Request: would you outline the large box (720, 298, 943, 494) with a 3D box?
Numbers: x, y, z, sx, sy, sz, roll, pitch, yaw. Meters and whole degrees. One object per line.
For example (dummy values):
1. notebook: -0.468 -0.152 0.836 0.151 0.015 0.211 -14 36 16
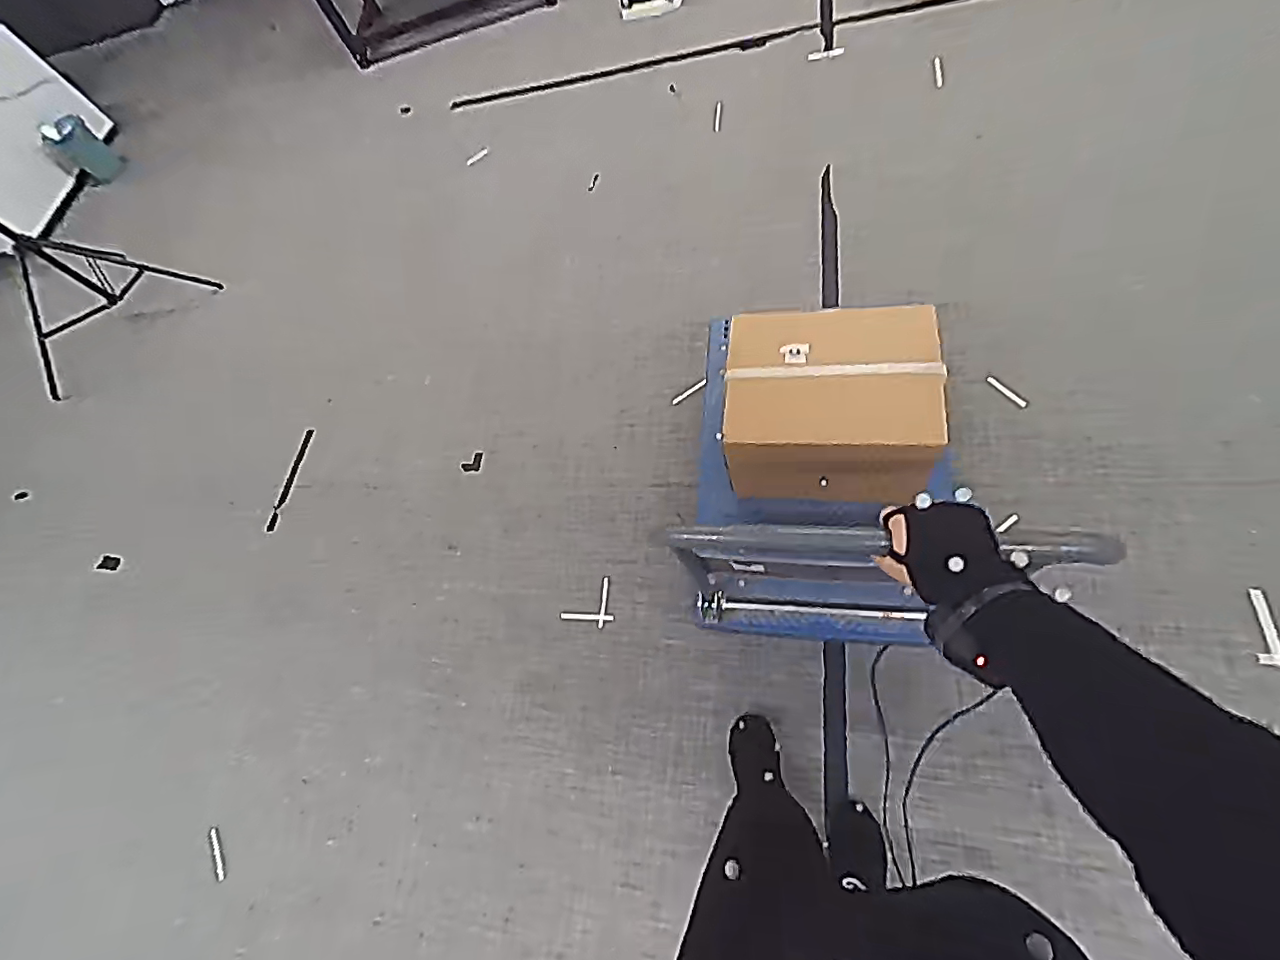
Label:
1. large box: 0.404 -0.162 1.197 0.408 0.320 0.320 1 67 17
